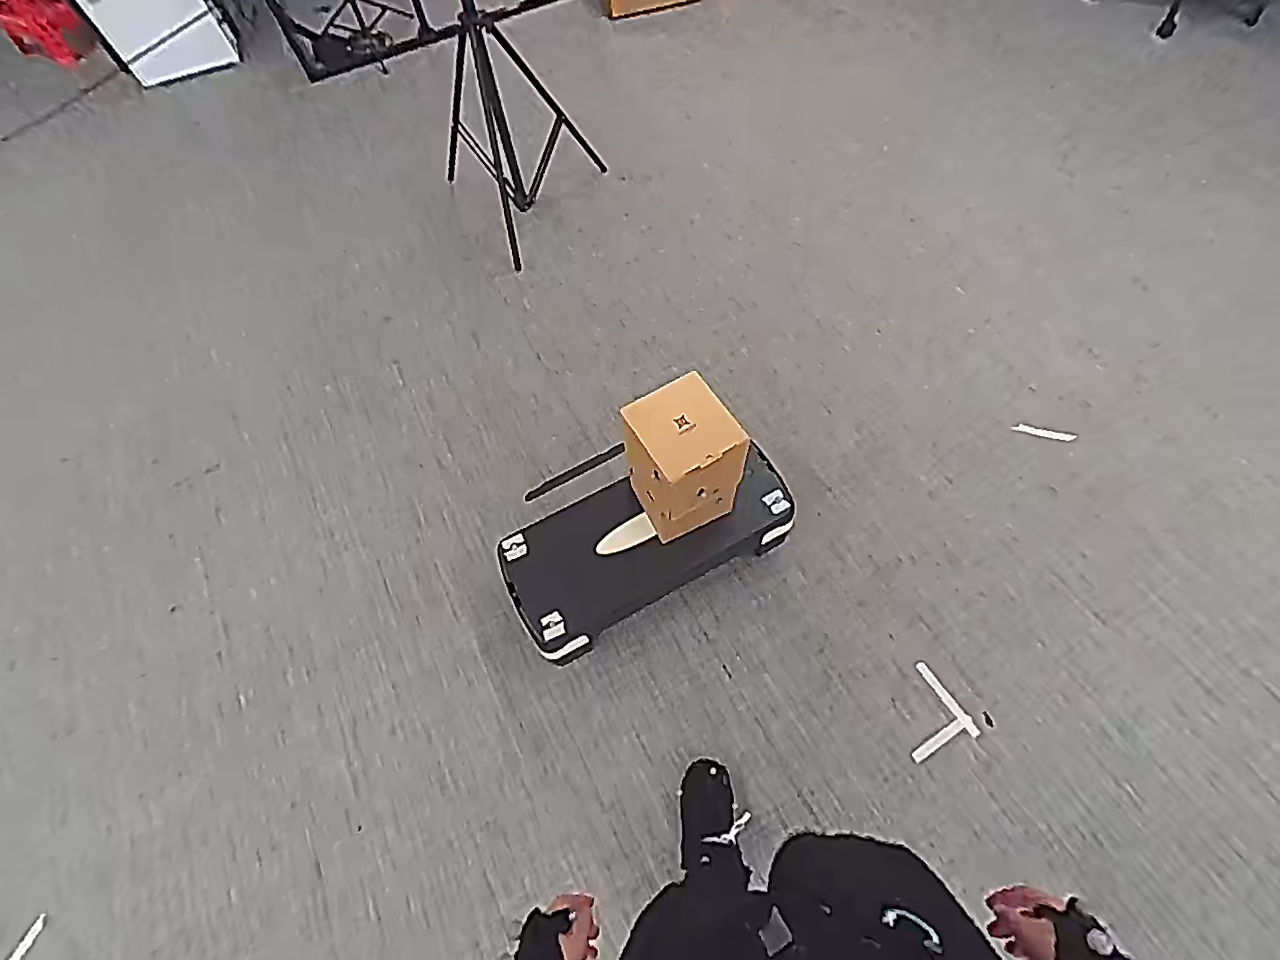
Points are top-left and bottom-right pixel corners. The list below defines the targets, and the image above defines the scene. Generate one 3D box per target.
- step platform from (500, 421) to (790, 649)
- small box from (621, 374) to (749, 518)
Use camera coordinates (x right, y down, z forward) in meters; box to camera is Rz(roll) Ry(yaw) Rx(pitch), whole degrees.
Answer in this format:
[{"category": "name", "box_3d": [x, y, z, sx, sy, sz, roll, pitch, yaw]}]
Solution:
[{"category": "step platform", "box_3d": [0.017, 0.120, 1.310, 0.684, 0.204, 0.286, -28, 64, -9]}, {"category": "small box", "box_3d": [0.079, -0.059, 1.020, 0.168, 0.176, 0.179, -29, 66, -11]}]
